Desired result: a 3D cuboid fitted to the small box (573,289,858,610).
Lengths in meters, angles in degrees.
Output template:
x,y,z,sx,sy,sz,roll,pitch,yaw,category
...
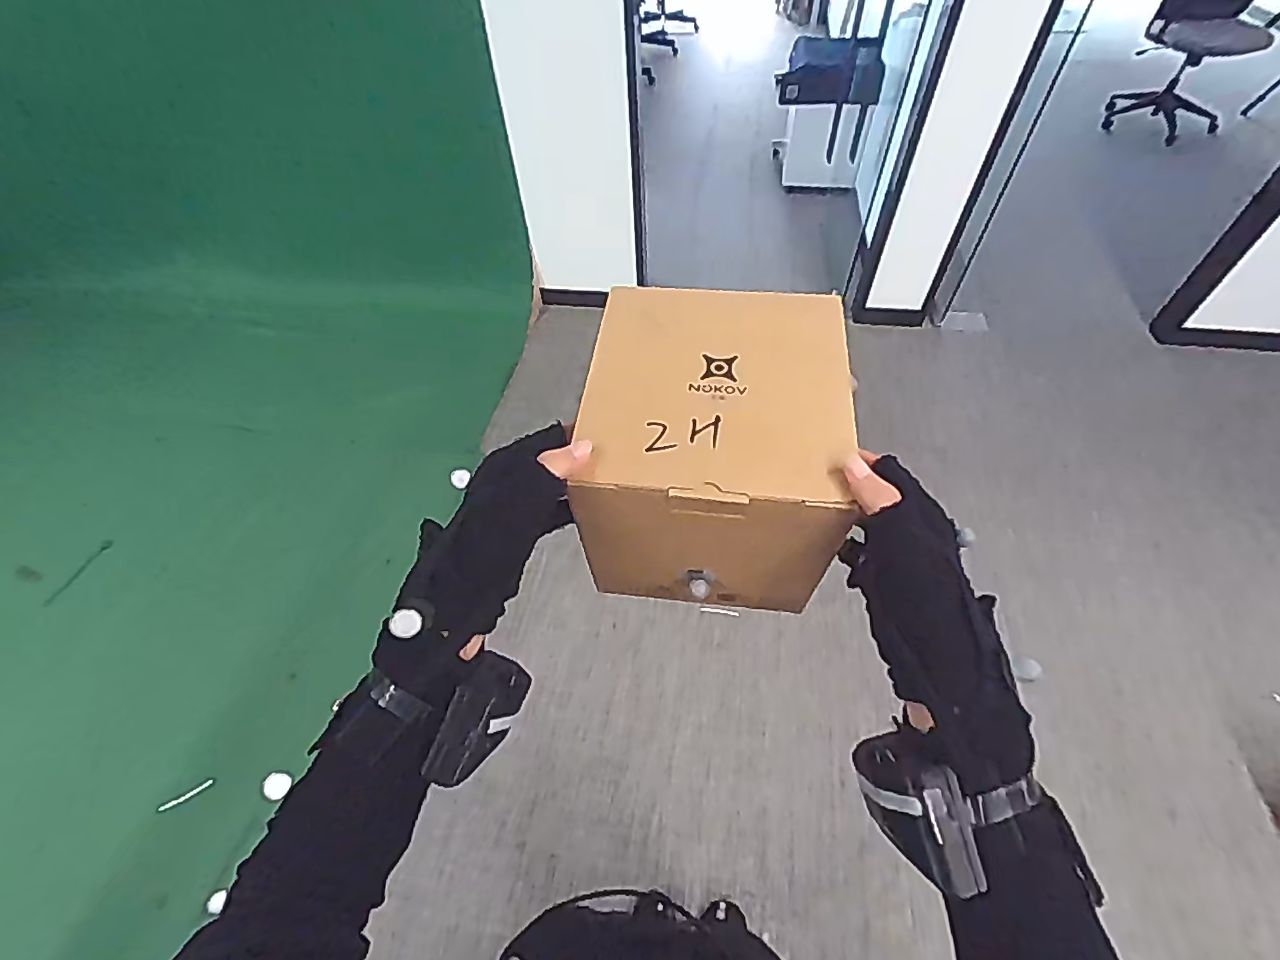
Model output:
x,y,z,sx,sy,sz,roll,pitch,yaw,category
0.055,-0.019,0.417,0.168,0.176,0.179,5,57,7,small box
